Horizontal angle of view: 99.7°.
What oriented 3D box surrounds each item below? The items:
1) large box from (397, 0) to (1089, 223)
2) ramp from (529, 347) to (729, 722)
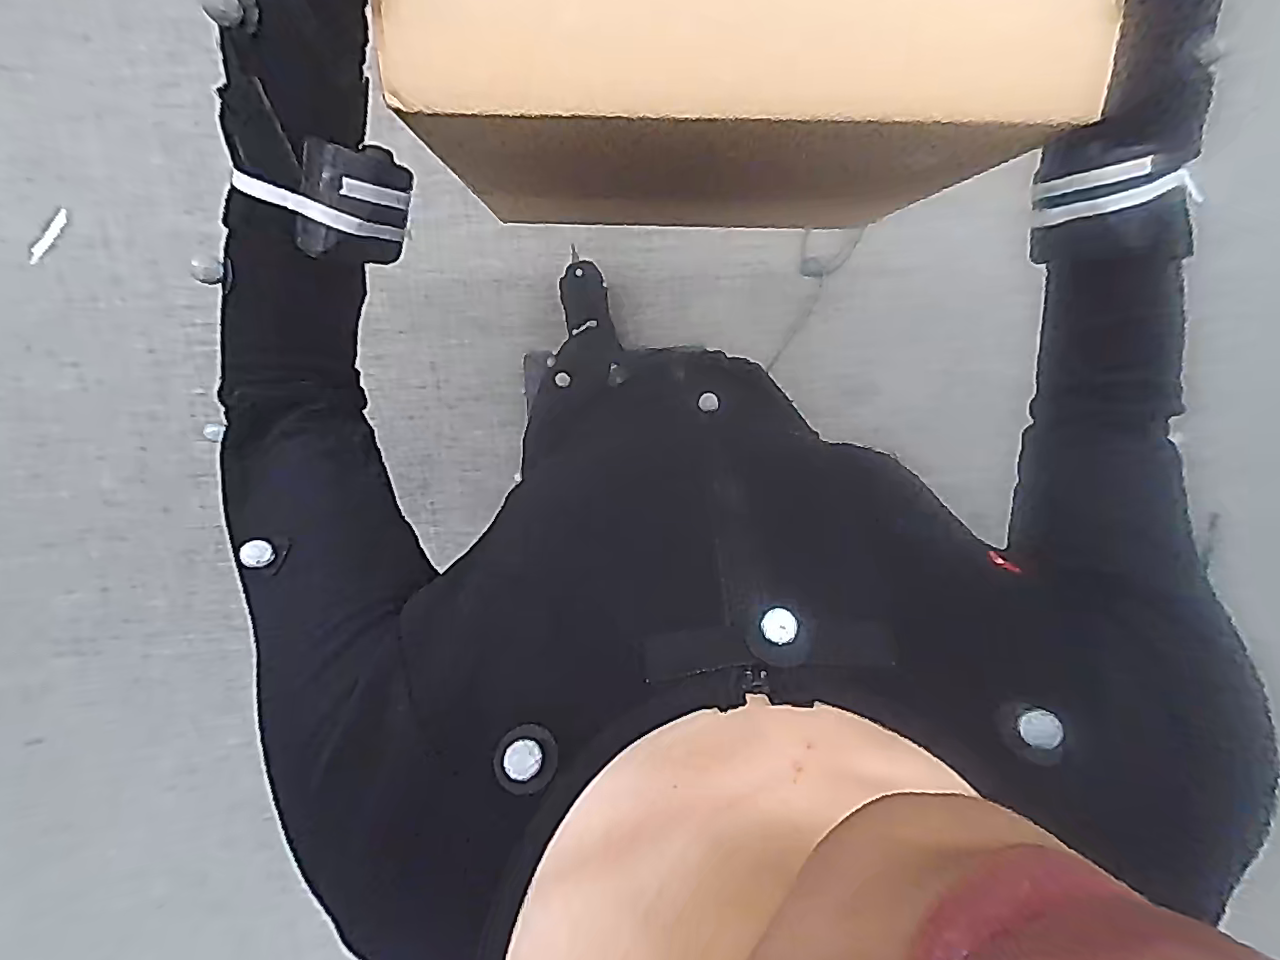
[{"bbox_3d":[0.052,-0.403,0.425,0.408,0.320,0.320,-1,105,-3],"label":"large box"},{"bbox_3d":[-0.030,0.150,1.471,0.509,0.206,0.991,-5,102,0],"label":"ramp"}]
